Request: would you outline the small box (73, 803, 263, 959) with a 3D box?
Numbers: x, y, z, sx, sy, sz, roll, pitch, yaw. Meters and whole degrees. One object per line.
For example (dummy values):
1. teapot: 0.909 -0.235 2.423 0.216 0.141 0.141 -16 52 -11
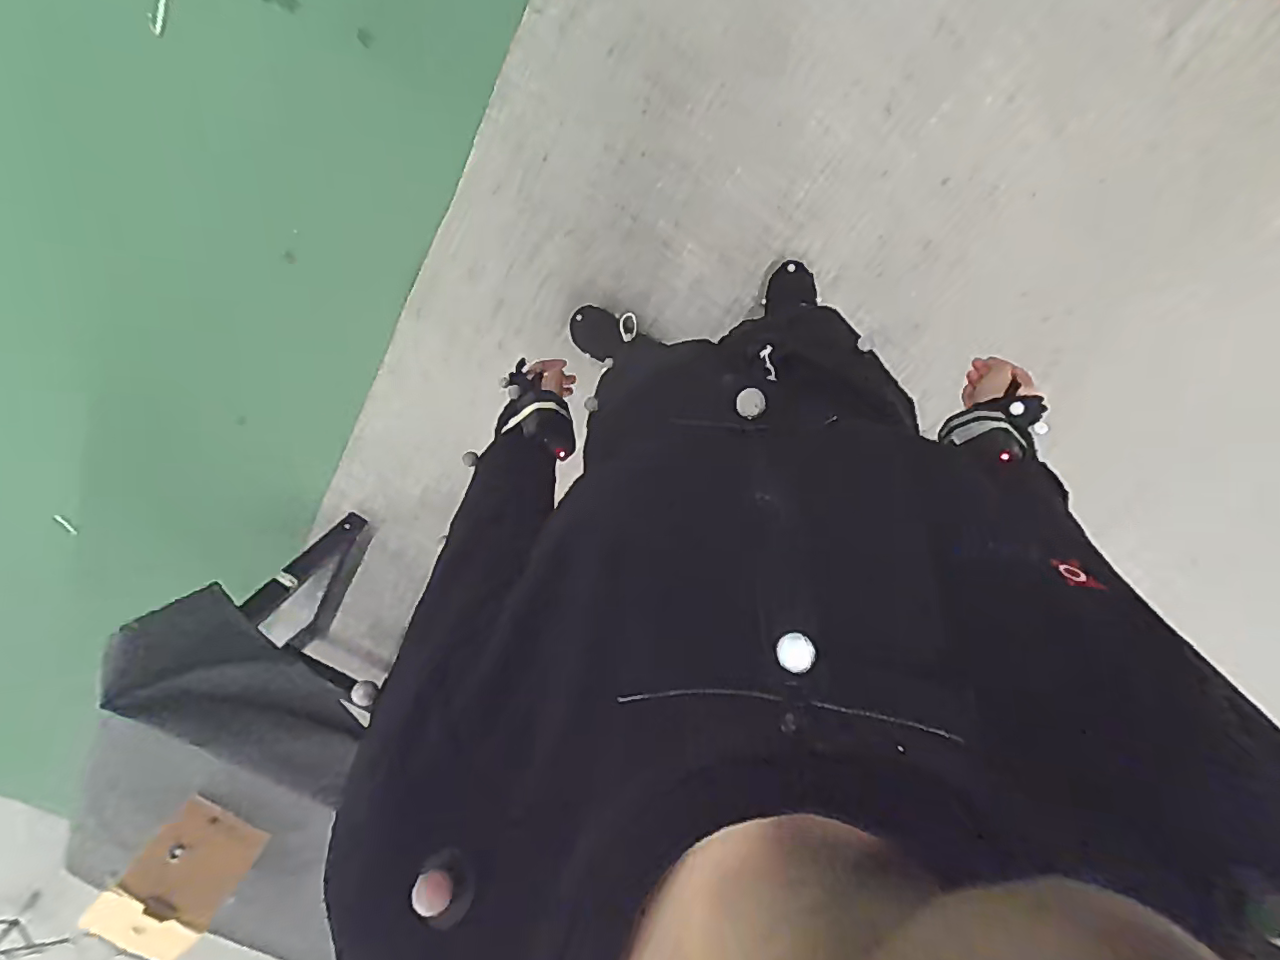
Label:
1. small box: -0.823 0.719 0.962 0.168 0.176 0.179 42 113 -12
